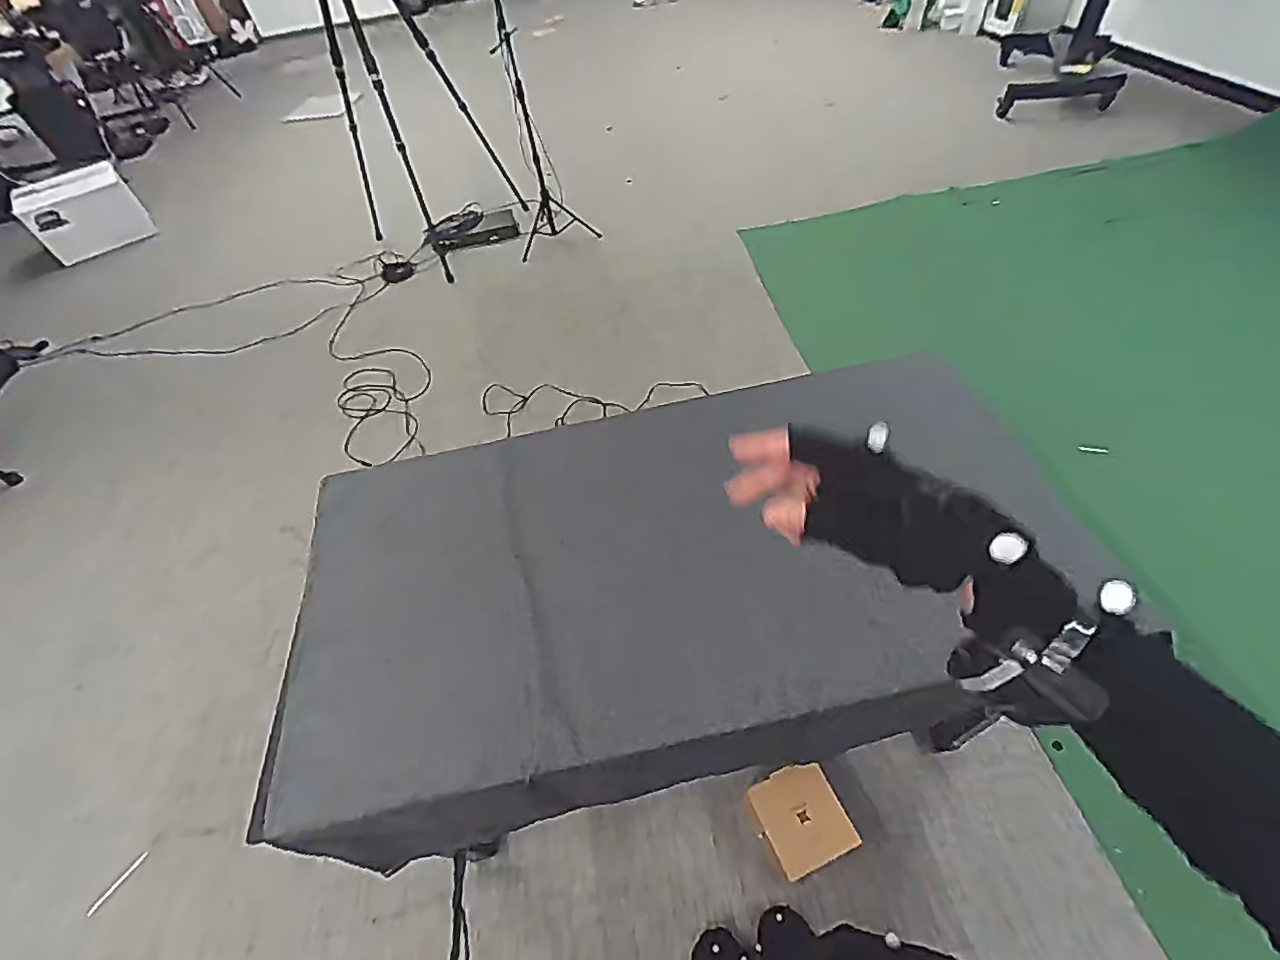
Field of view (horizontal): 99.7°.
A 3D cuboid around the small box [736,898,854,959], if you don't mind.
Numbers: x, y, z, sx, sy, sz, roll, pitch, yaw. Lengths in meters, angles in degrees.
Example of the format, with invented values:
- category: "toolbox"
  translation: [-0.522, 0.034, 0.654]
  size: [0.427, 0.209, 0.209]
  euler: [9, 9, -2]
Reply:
- category: "small box"
  translation: [0.289, 0.949, 0.999]
  size: [0.168, 0.176, 0.179]
  euler: [-1, 21, 44]

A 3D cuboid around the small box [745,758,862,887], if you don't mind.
- category: "small box"
  translation: [0.336, 0.734, 1.155]
  size: [0.168, 0.176, 0.179]
  euler: [-22, 51, -9]
